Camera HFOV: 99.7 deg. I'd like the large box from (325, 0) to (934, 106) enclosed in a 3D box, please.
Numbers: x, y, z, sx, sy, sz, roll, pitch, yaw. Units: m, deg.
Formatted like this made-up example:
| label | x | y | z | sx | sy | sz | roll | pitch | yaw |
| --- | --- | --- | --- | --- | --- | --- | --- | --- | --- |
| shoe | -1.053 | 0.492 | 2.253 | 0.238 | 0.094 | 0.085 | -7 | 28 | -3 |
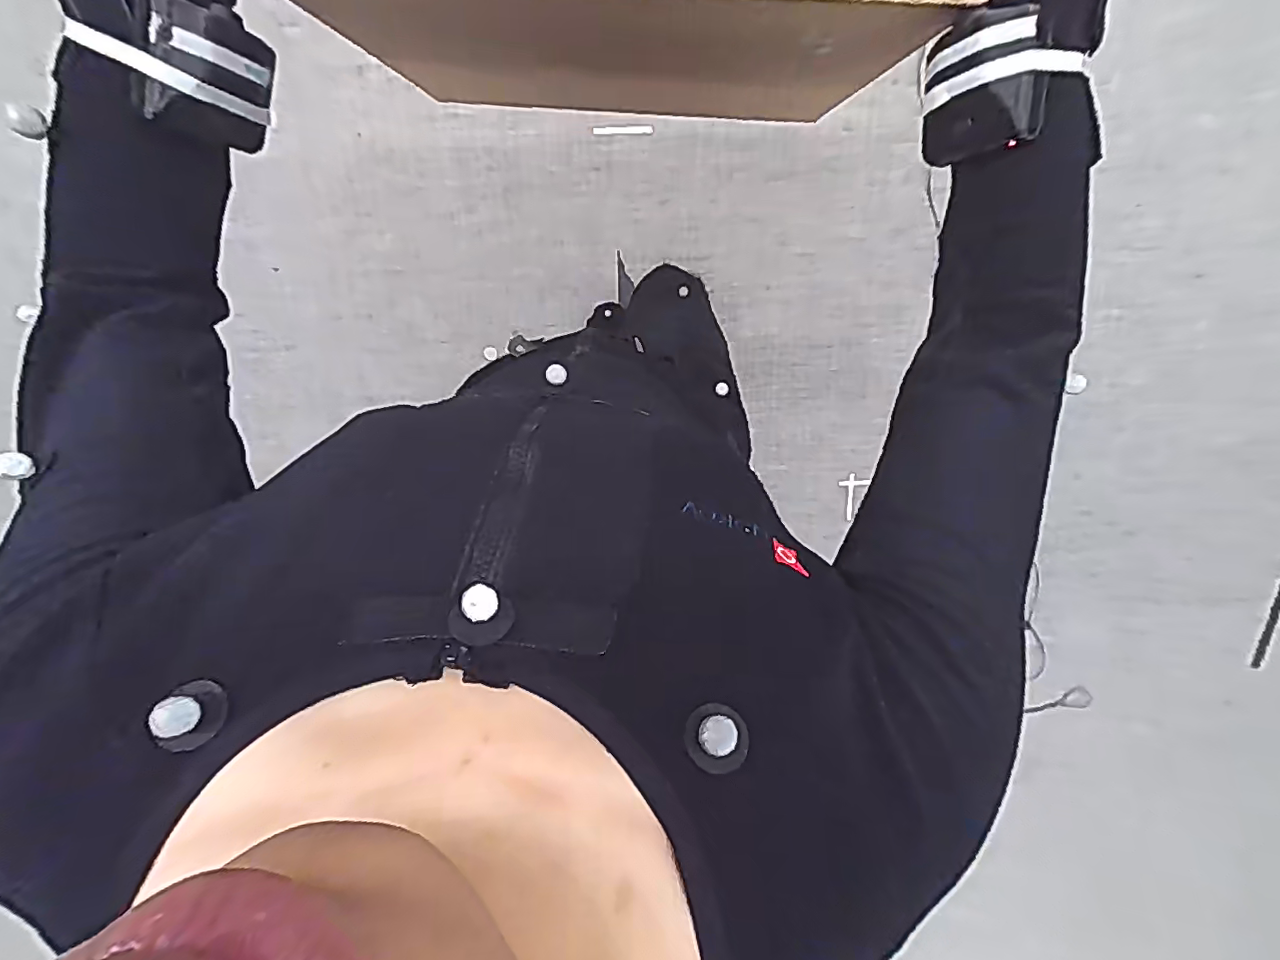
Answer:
| label | x | y | z | sx | sy | sz | roll | pitch | yaw |
| --- | --- | --- | --- | --- | --- | --- | --- | --- | --- |
| large box | -0.010 | -0.479 | 0.373 | 0.408 | 0.320 | 0.320 | 2 | 114 | -1 |
